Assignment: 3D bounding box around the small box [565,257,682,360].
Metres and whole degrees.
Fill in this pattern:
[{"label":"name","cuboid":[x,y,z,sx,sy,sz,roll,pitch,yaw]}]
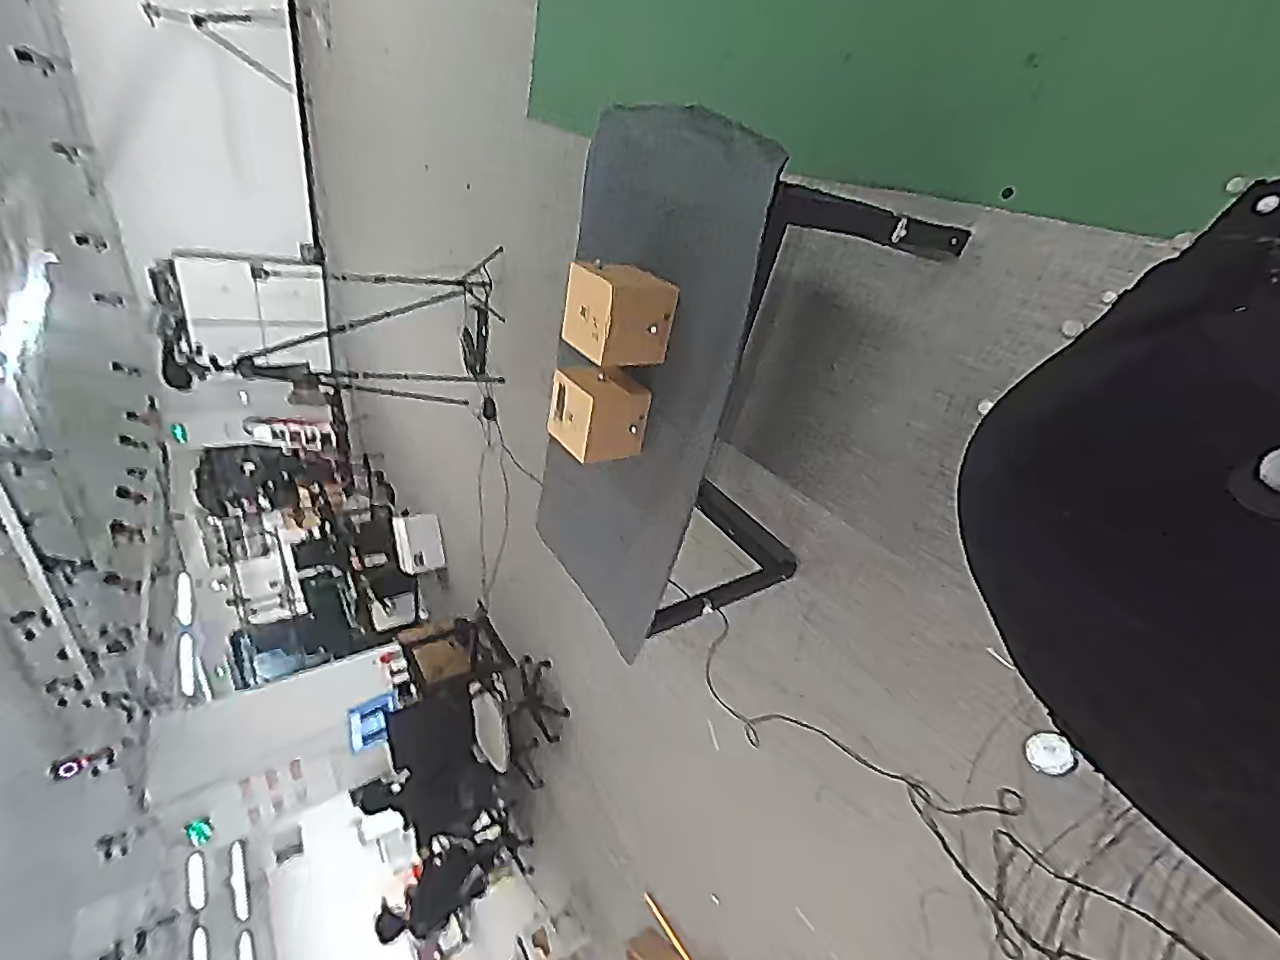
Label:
[{"label":"small box","cuboid":[-0.039,-0.368,1.166,0.179,0.176,0.168,43,132,40]}]
